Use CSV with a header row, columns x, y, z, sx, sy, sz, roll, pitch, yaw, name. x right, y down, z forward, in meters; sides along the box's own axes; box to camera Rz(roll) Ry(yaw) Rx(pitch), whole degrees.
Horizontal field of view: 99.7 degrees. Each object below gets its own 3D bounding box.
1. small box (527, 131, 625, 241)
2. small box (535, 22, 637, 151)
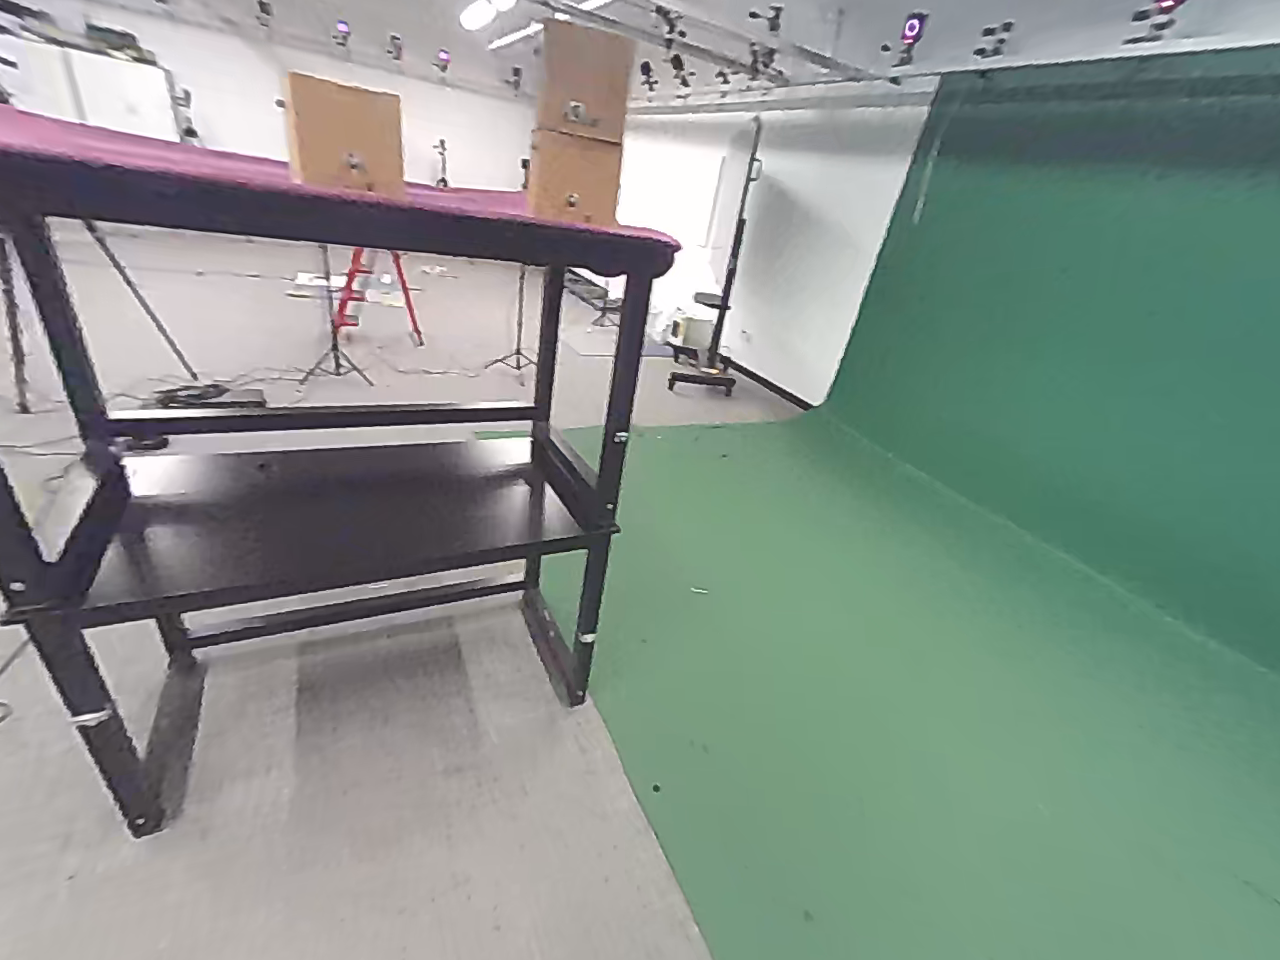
x,y,z,sx,sy,sz,roll,pitch,yaw,name
-0.142,-0.612,1.129,0.168,0.176,0.179,0,31,-19,small box
-0.112,-0.748,1.046,0.168,0.176,0.179,1,32,-15,small box
